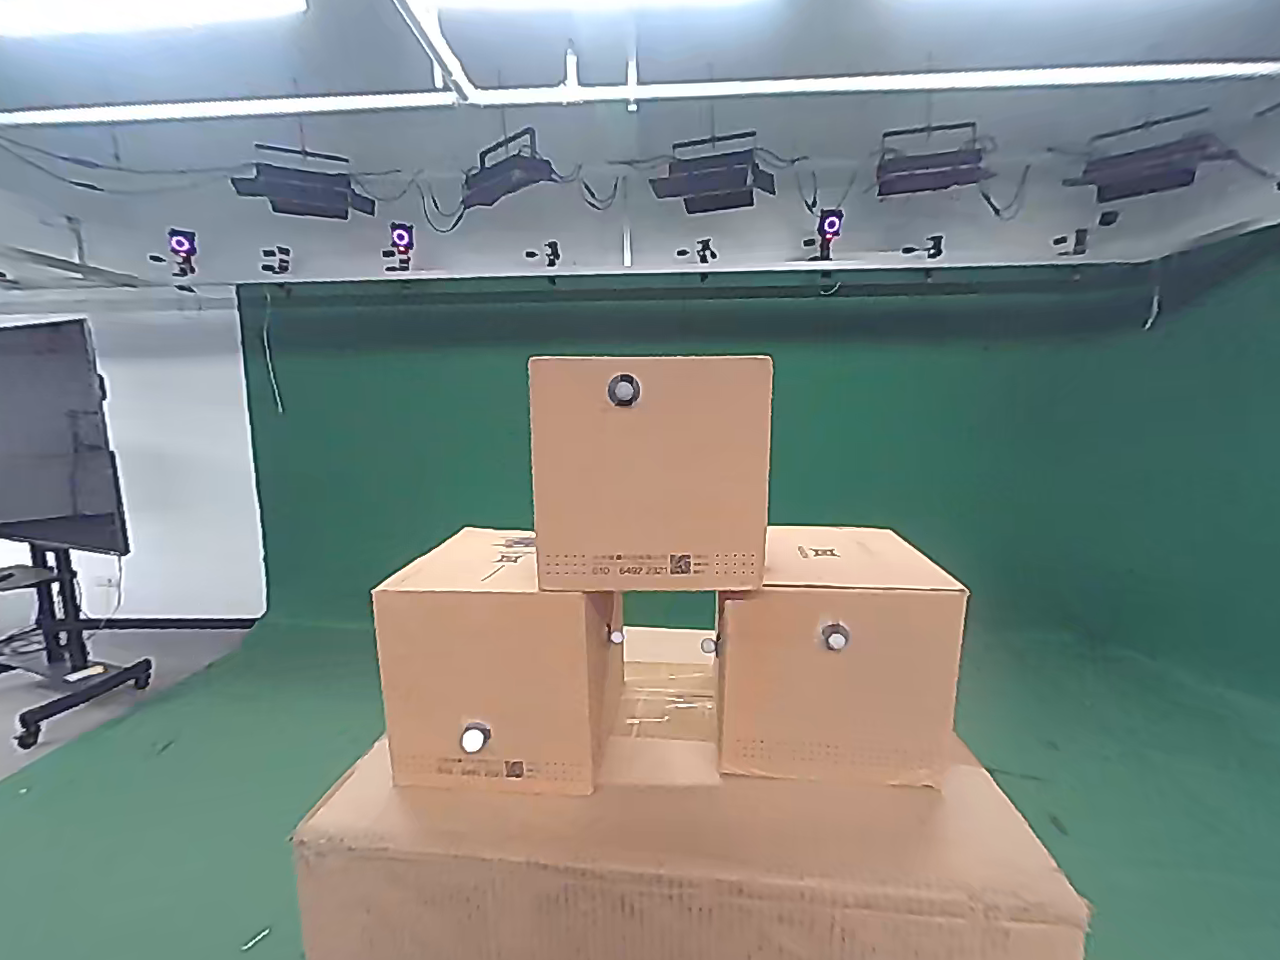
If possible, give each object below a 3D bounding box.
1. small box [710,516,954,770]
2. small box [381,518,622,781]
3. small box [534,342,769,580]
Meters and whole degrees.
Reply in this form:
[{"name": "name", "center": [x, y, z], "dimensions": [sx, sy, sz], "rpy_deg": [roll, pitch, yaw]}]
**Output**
[{"name": "small box", "center": [0.155, 0.136, 0.497], "dimensions": [0.179, 0.176, 0.168], "rpy_deg": [3, 11, 5]}, {"name": "small box", "center": [-0.109, 0.138, 0.499], "dimensions": [0.168, 0.176, 0.179], "rpy_deg": [0, 11, 7]}, {"name": "small box", "center": [0.007, -0.024, 0.464], "dimensions": [0.168, 0.176, 0.179], "rpy_deg": [0, 10, 1]}]
